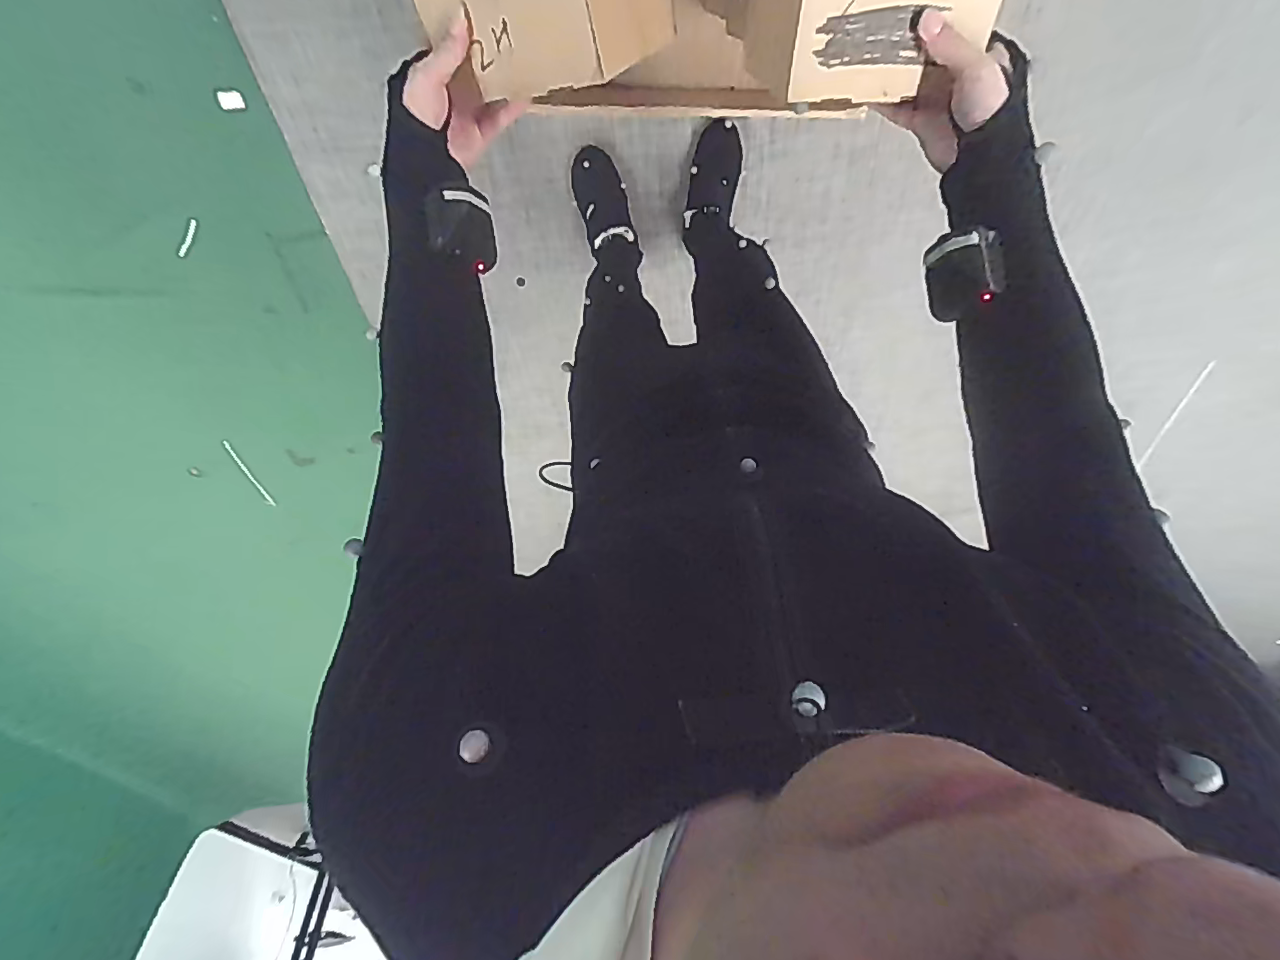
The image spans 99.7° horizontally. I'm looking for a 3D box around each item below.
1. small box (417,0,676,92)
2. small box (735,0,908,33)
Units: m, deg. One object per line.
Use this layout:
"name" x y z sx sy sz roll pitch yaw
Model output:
"small box" -0.084 -0.459 0.450 0.168 0.176 0.179 11 141 26
"small box" 0.201 -0.604 0.583 0.168 0.176 0.179 -1 133 -2
